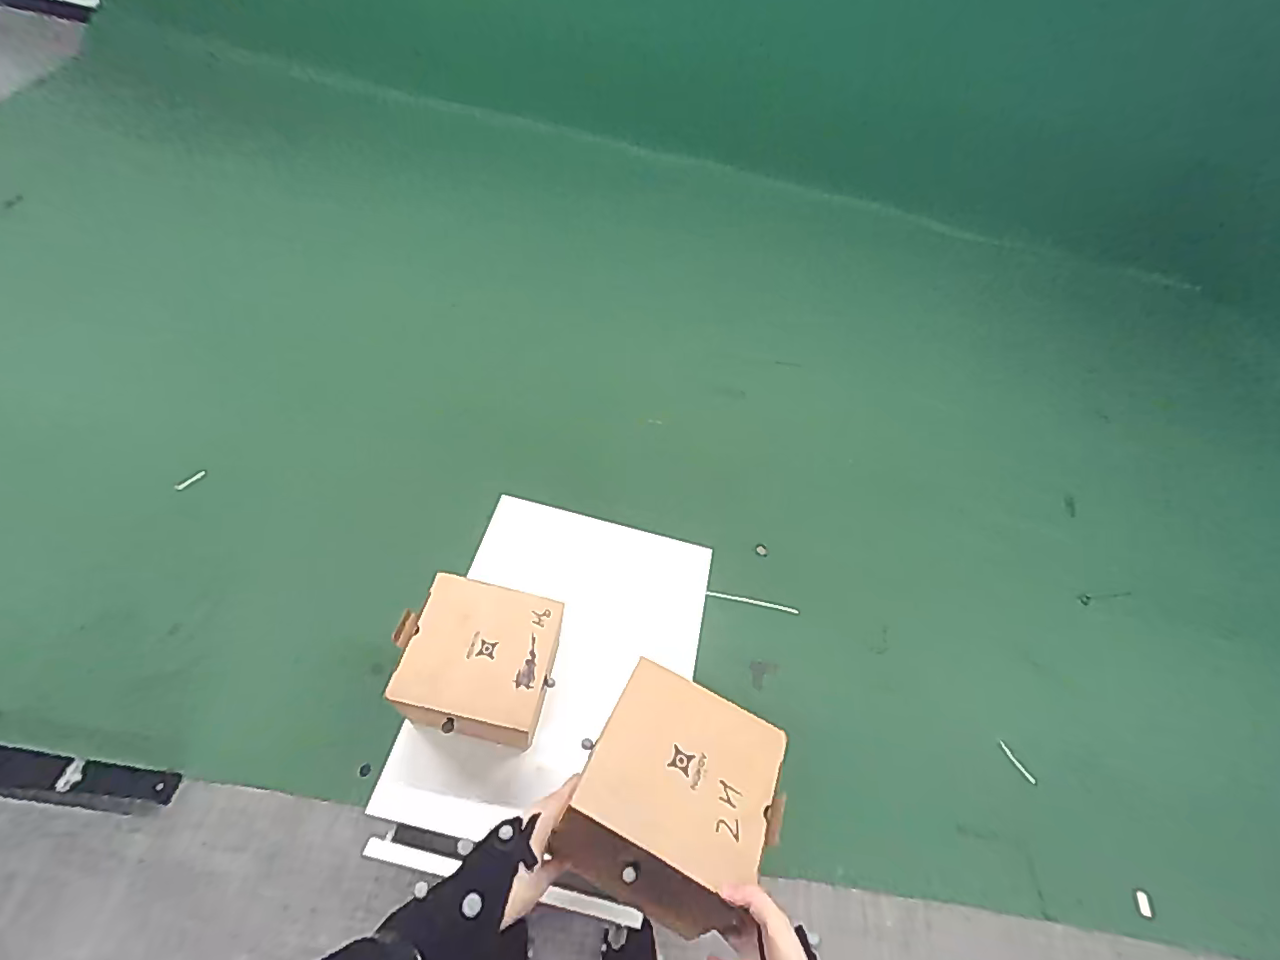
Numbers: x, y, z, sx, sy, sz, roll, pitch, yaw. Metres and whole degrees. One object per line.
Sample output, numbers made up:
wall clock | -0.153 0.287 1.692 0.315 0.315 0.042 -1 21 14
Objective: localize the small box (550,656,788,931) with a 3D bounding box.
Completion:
small box | 0.025 0.326 0.561 0.179 0.176 0.168 27 42 7
